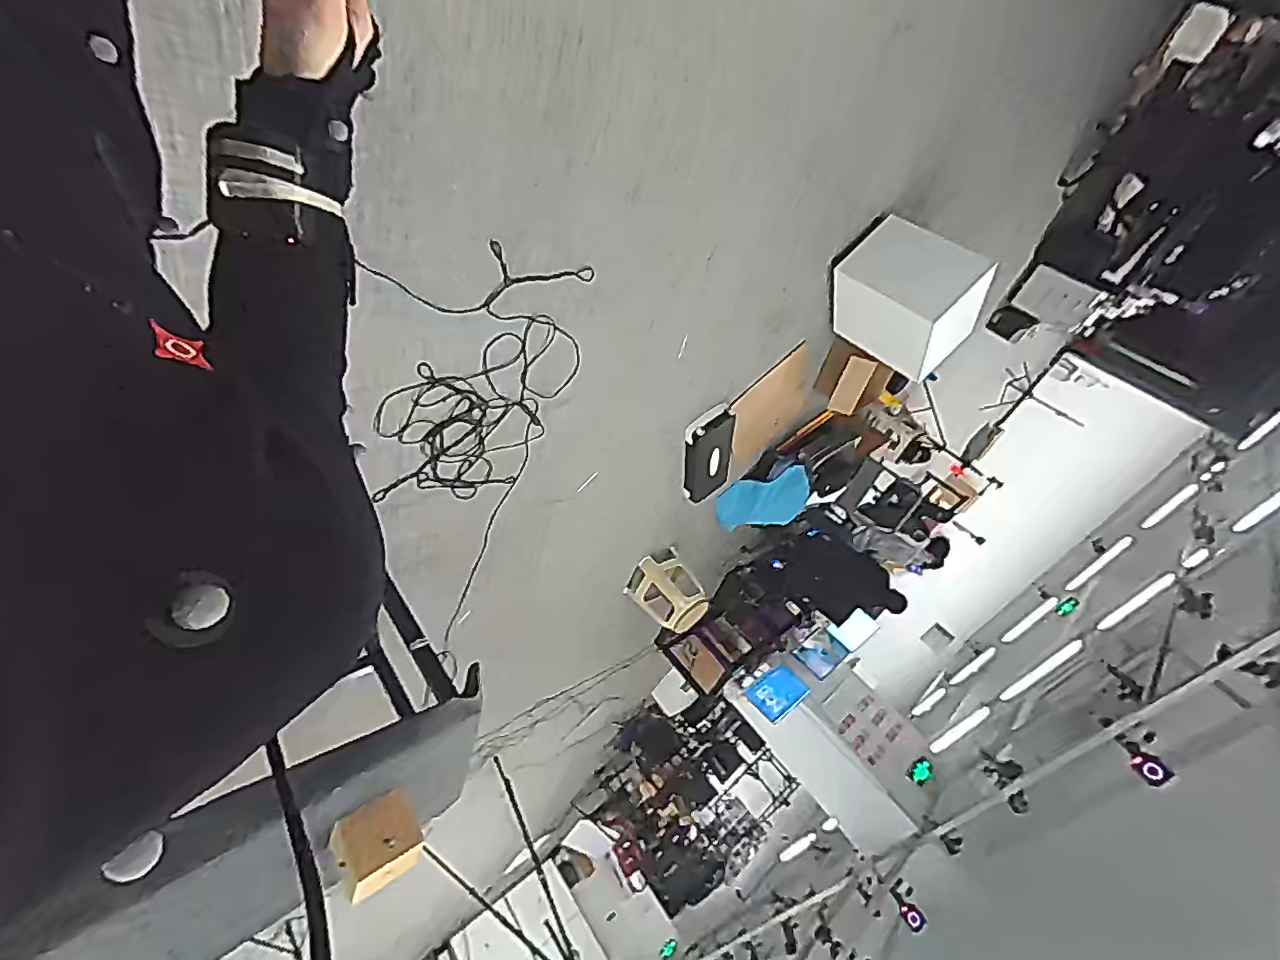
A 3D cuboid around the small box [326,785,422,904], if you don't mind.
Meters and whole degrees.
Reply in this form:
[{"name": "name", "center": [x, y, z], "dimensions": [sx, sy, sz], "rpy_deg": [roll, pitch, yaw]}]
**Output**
[{"name": "small box", "center": [-0.722, 0.973, 1.456], "dimensions": [0.179, 0.176, 0.168], "rpy_deg": [-13, 138, -47]}]
